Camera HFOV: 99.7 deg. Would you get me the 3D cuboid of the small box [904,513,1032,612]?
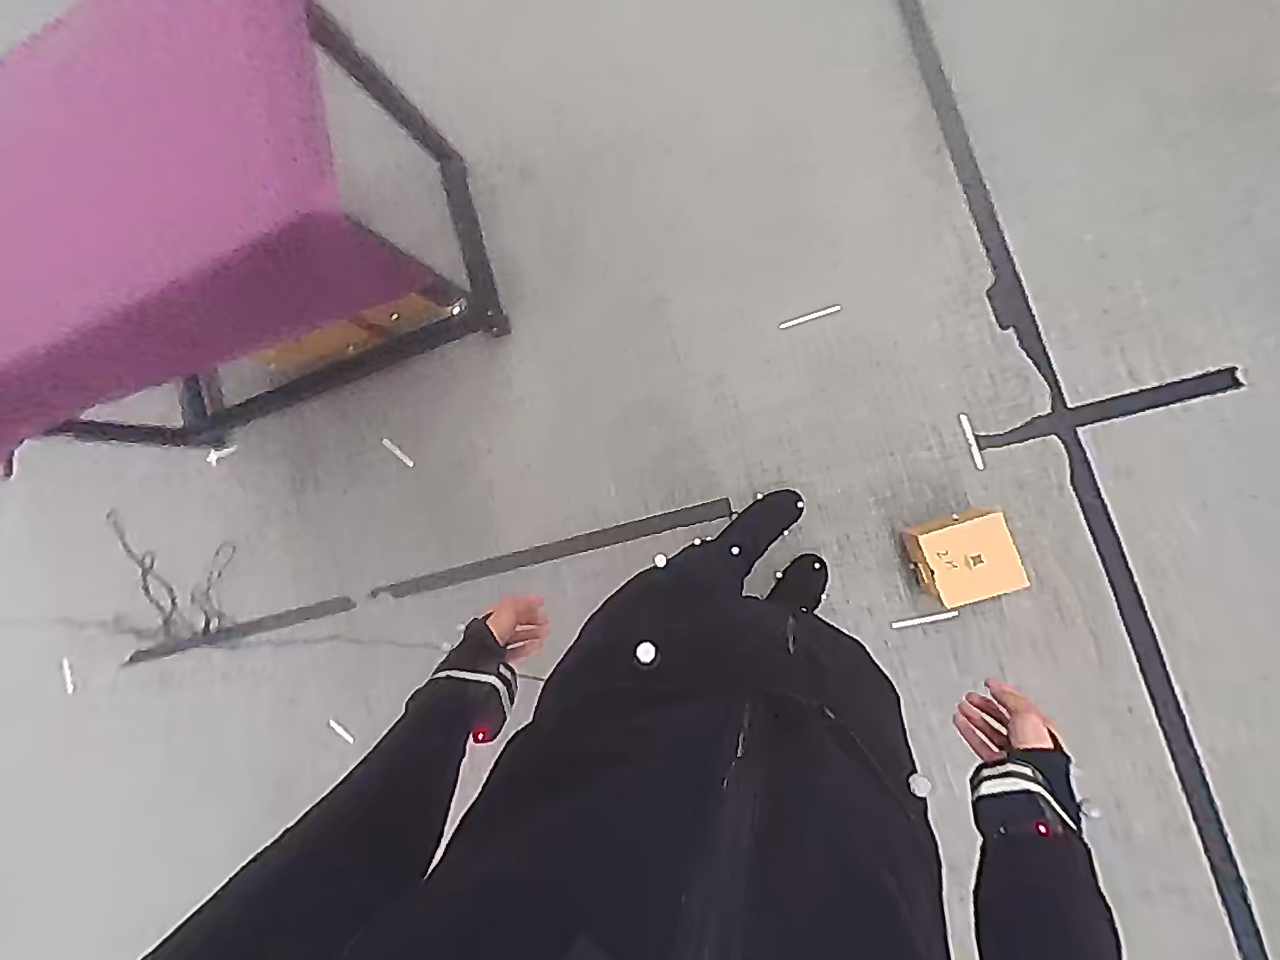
[{"bbox_3d":[0.724,0.177,1.214,0.179,0.176,0.168,-20,84,14],"label":"small box"}]
